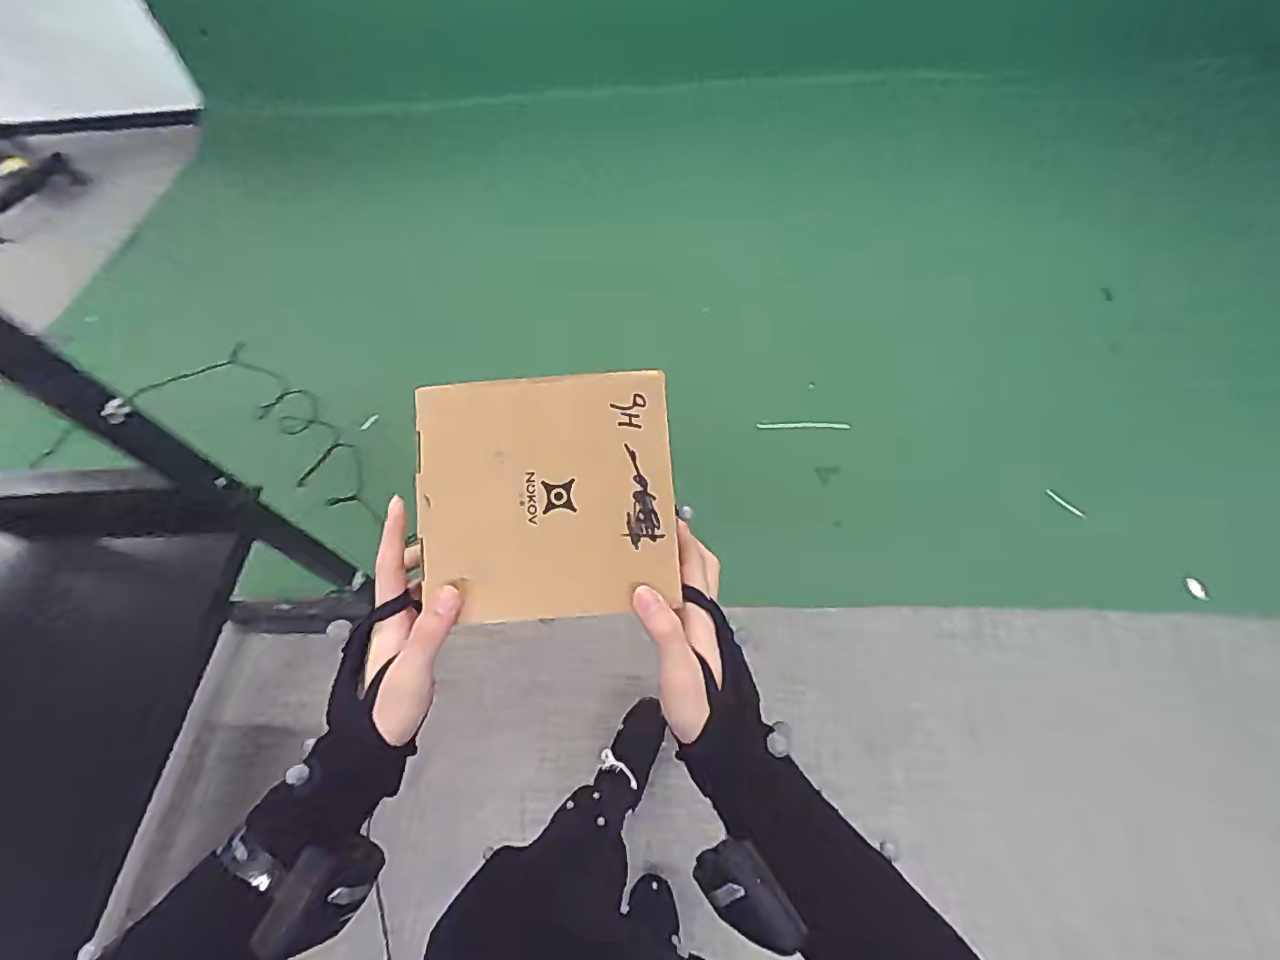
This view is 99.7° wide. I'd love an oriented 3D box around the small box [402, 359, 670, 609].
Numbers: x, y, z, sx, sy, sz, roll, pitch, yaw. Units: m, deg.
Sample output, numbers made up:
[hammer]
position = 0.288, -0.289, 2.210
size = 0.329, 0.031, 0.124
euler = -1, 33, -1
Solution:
[small box]
position = -0.065, 0.010, 0.433
size = 0.179, 0.176, 0.168
euler = -1, 85, 1
